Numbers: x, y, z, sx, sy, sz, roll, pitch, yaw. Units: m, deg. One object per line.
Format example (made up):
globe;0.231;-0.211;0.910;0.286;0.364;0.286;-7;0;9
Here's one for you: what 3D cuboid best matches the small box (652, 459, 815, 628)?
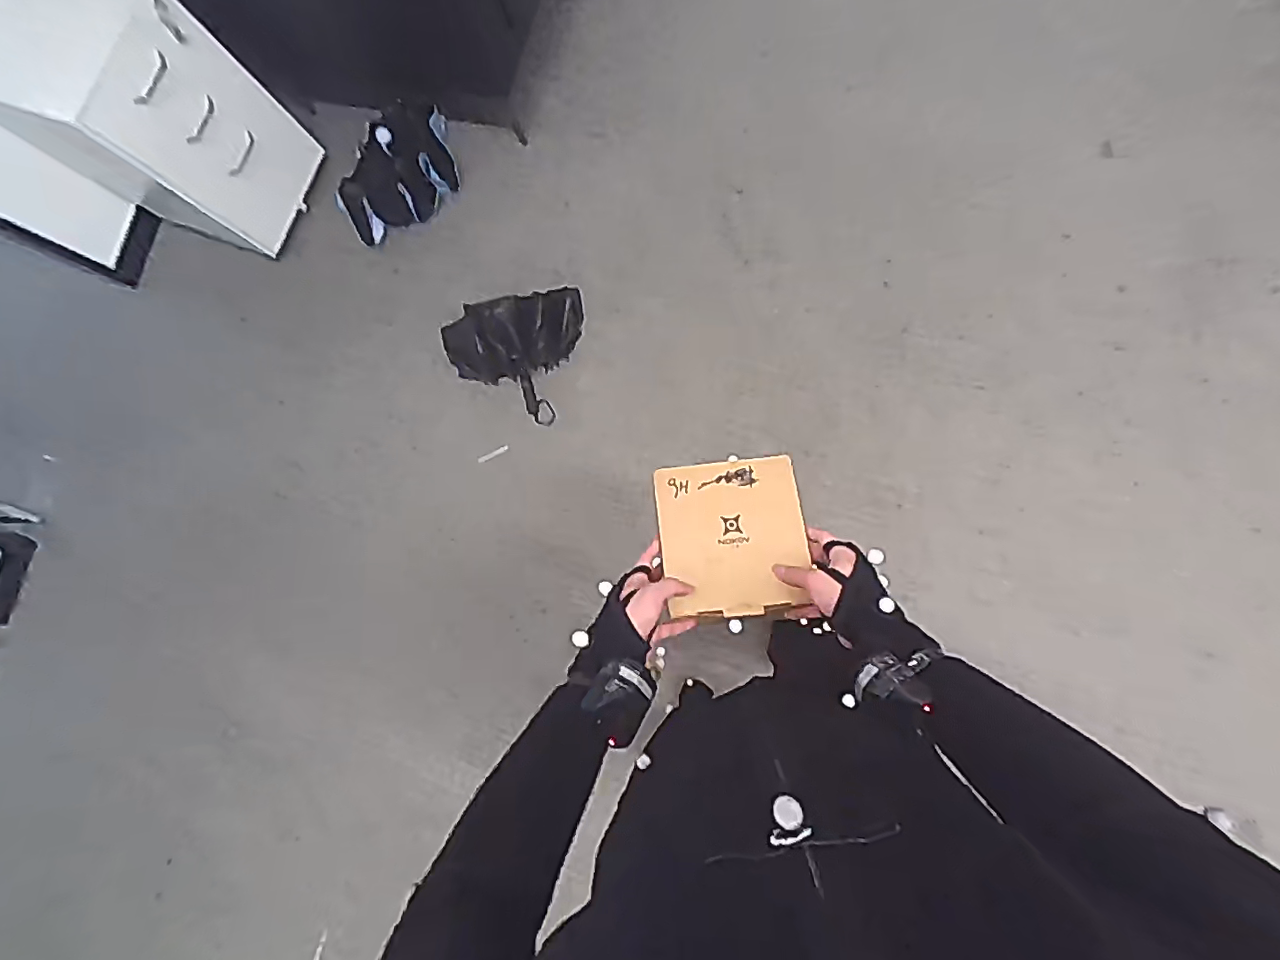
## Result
small box;0.109;0.091;0.685;0.168;0.176;0.179;-7;70;3
